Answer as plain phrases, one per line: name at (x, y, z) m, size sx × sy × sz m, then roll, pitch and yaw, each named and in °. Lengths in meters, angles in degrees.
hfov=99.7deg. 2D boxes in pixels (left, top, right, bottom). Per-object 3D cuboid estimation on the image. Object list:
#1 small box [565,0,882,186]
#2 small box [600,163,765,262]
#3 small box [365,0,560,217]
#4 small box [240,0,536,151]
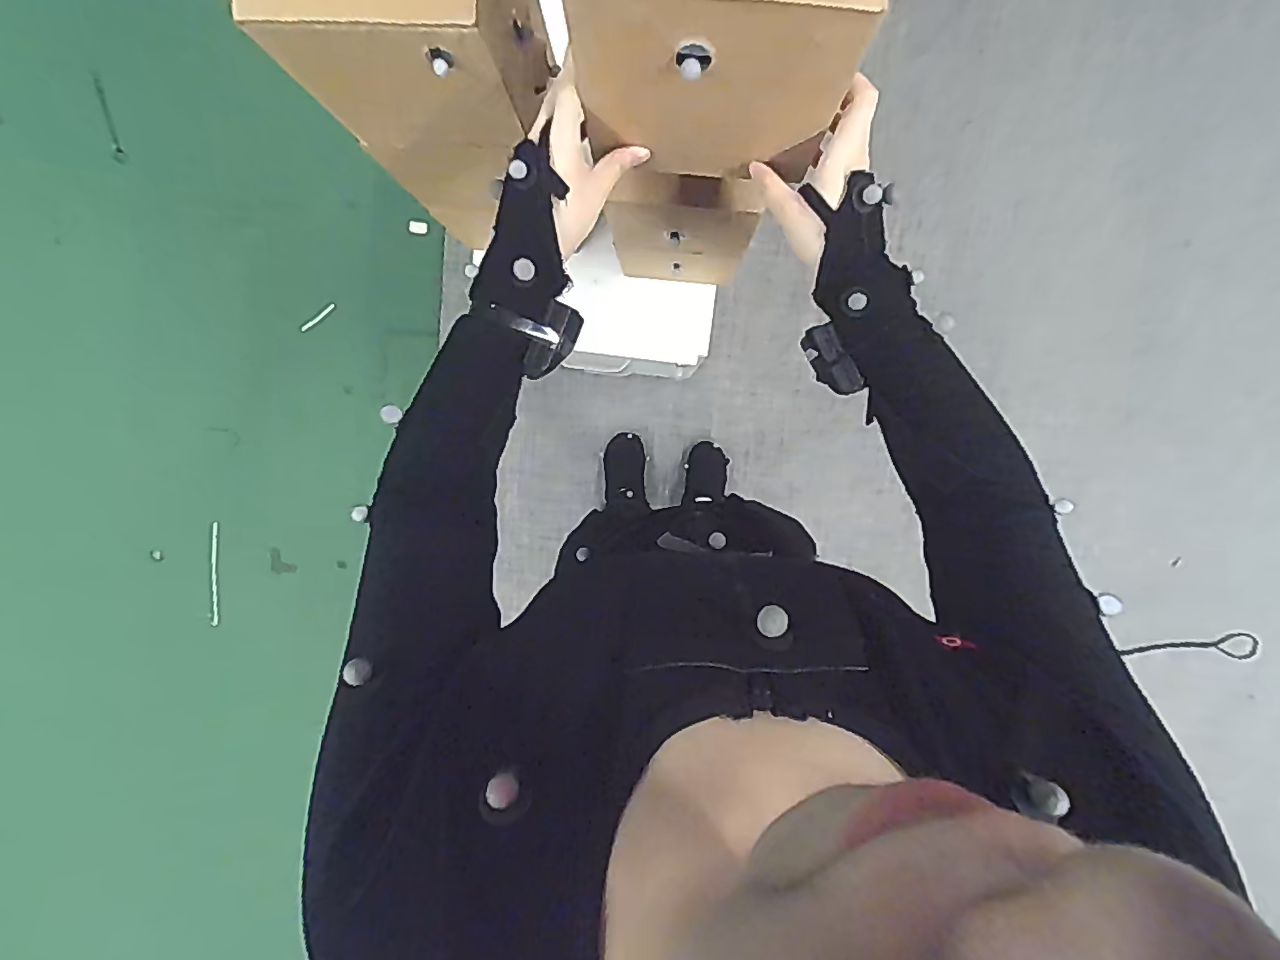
small box at (0.054, -0.331, 0.373) m, size 0.179 × 0.176 × 0.168 m, roll 6°, pitch 90°, yaw 1°
small box at (0.055, -0.360, 0.610) m, size 0.168 × 0.176 × 0.179 m, roll 6°, pitch 97°, yaw 2°
small box at (-0.188, -0.415, 0.615) m, size 0.179 × 0.176 × 0.168 m, roll 1°, pitch 96°, yaw 1°
small box at (-0.192, -0.402, 0.452) m, size 0.179 × 0.176 × 0.168 m, roll 1°, pitch 96°, yaw 0°
